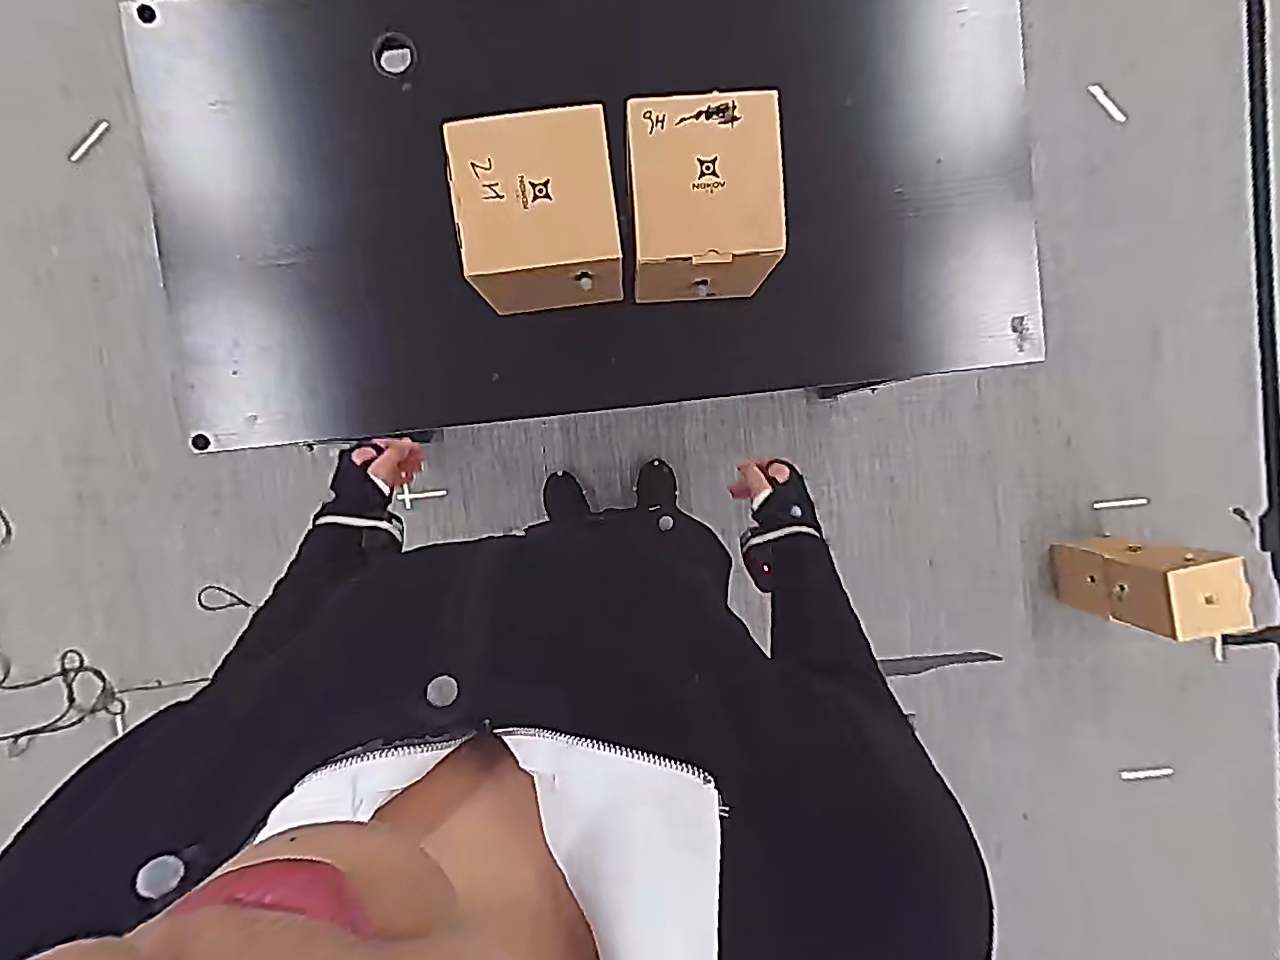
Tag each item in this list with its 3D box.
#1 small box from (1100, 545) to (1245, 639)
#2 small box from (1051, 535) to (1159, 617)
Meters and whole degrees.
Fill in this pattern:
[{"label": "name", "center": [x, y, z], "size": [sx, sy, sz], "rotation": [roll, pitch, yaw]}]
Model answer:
[{"label": "small box", "center": [1.264, 0.260, 1.293], "size": [0.179, 0.176, 0.168], "rotation": [-12, 92, 1]}, {"label": "small box", "center": [1.250, 0.251, 1.455], "size": [0.168, 0.176, 0.179], "rotation": [-9, 94, 0]}]
